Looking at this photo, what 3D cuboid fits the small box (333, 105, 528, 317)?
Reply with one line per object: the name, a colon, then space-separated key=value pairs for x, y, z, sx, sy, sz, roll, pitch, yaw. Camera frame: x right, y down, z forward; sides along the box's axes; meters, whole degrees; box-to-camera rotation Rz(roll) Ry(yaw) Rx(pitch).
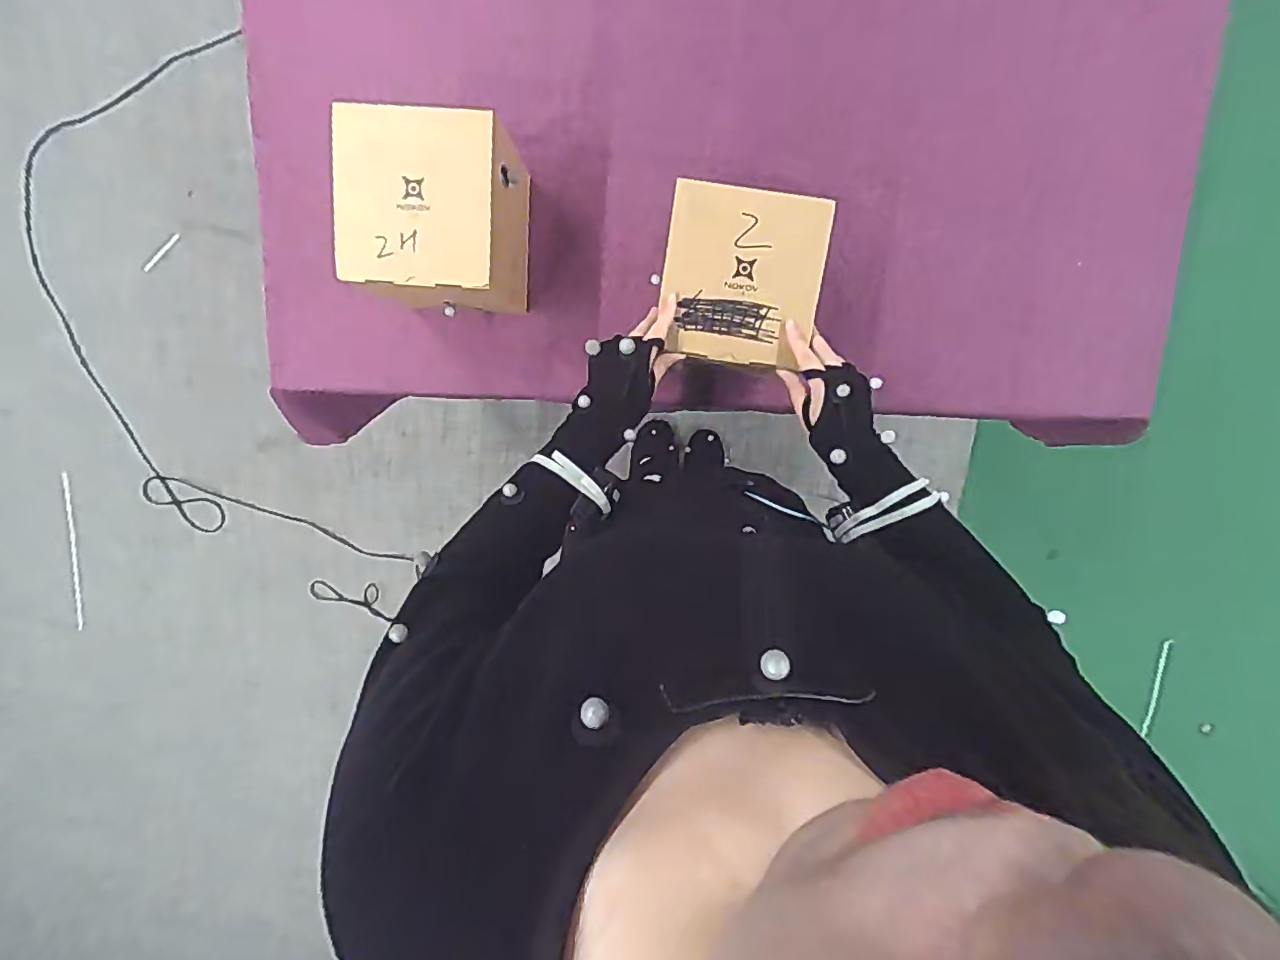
small box: x=-0.232 y=-0.299 z=0.636 sx=0.168 sy=0.176 sz=0.179 roll=3 pitch=98 yaw=1
